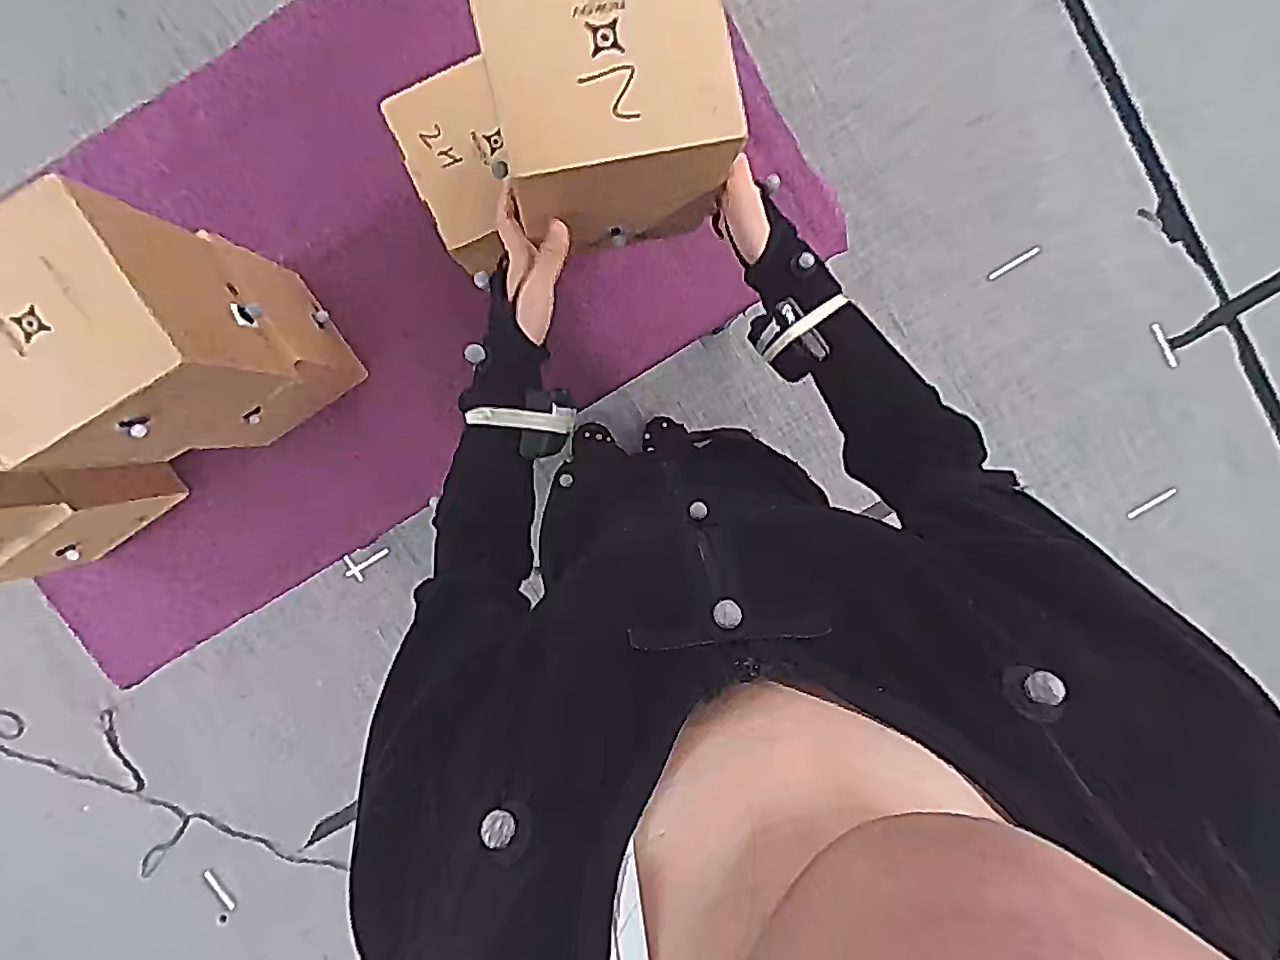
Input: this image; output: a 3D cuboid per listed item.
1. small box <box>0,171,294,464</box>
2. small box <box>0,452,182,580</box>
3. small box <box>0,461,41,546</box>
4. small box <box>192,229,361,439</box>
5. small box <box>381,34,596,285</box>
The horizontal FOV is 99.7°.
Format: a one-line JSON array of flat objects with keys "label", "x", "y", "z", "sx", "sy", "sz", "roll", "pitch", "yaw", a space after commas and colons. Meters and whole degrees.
[{"label": "small box", "x": -0.475, "y": -0.130, "z": 0.496, "sx": 0.179, "sy": 0.176, "sz": 0.168, "roll": -31, "pitch": 97, "yaw": 0}, {"label": "small box", "x": -0.735, "y": 0.000, "z": 0.665, "sx": 0.168, "sy": 0.176, "sz": 0.179, "roll": -35, "pitch": 95, "yaw": 2}, {"label": "small box", "x": -0.739, "y": 0.013, "z": 0.501, "sx": 0.179, "sy": 0.176, "sz": 0.168, "roll": -37, "pitch": 95, "yaw": 1}, {"label": "small box", "x": -0.486, "y": -0.158, "z": 0.655, "sx": 0.179, "sy": 0.176, "sz": 0.168, "roll": -34, "pitch": 96, "yaw": 1}, {"label": "small box", "x": -0.161, "y": -0.359, "z": 0.644, "sx": 0.179, "sy": 0.176, "sz": 0.168, "roll": -24, "pitch": 95, "yaw": 1}]
